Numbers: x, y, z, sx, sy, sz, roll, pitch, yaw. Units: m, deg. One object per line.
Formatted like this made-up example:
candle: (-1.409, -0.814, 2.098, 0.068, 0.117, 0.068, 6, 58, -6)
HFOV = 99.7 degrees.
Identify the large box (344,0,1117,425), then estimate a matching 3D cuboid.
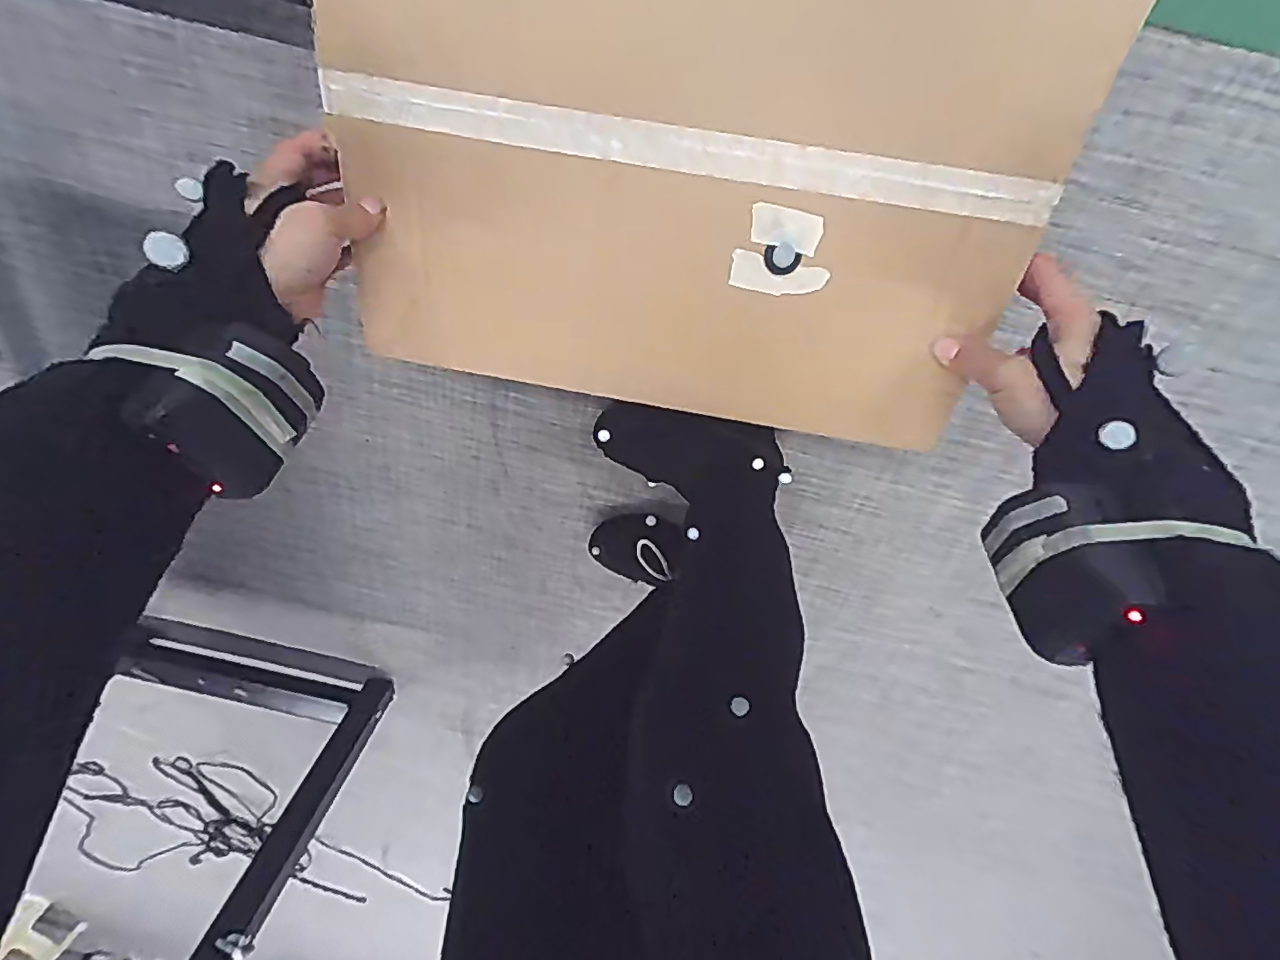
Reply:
large box: (0.041, -0.271, 0.440, 0.408, 0.320, 0.320, 9, 122, 1)
